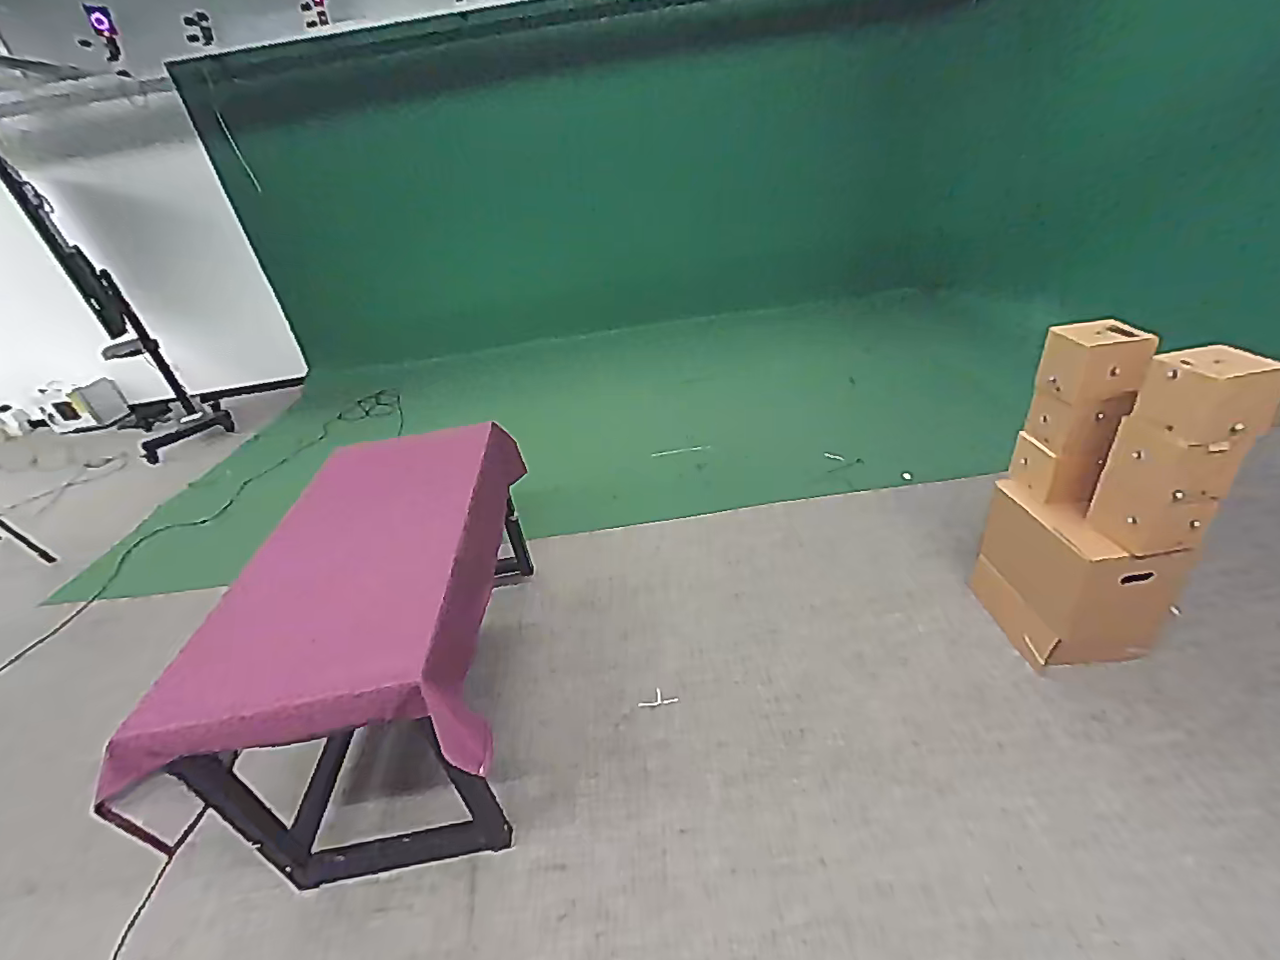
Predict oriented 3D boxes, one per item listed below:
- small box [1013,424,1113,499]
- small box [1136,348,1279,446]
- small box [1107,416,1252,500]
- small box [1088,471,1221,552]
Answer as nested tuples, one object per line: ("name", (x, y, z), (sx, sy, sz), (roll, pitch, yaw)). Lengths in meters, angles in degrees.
("small box", (1.295, -0.053, 1.676), (0.179, 0.176, 0.168), (-7, 33, 2))
("small box", (1.341, -0.195, 1.273), (0.179, 0.176, 0.168), (-8, 31, -2))
("small box", (1.347, -0.058, 1.365), (0.168, 0.176, 0.179), (-7, 30, 1))
("small box", (1.367, 0.079, 1.452), (0.168, 0.176, 0.179), (-8, 30, 0))
